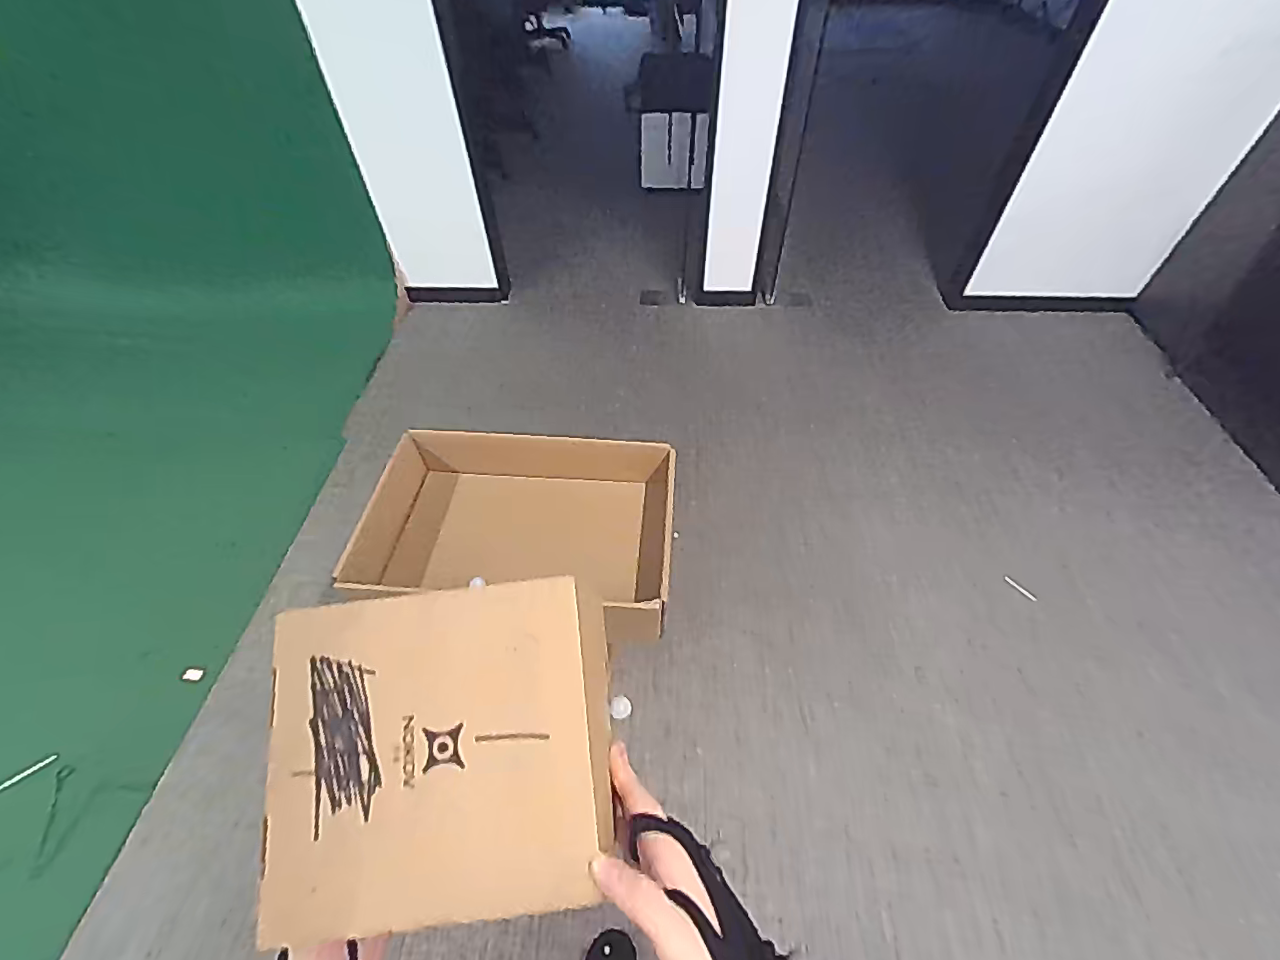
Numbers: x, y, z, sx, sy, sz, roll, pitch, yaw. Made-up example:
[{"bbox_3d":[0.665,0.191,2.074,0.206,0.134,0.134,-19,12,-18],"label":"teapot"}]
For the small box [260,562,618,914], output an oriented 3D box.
[{"bbox_3d":[-0.114,0.159,0.375,0.179,0.176,0.168,-7,73,-1],"label":"small box"}]
